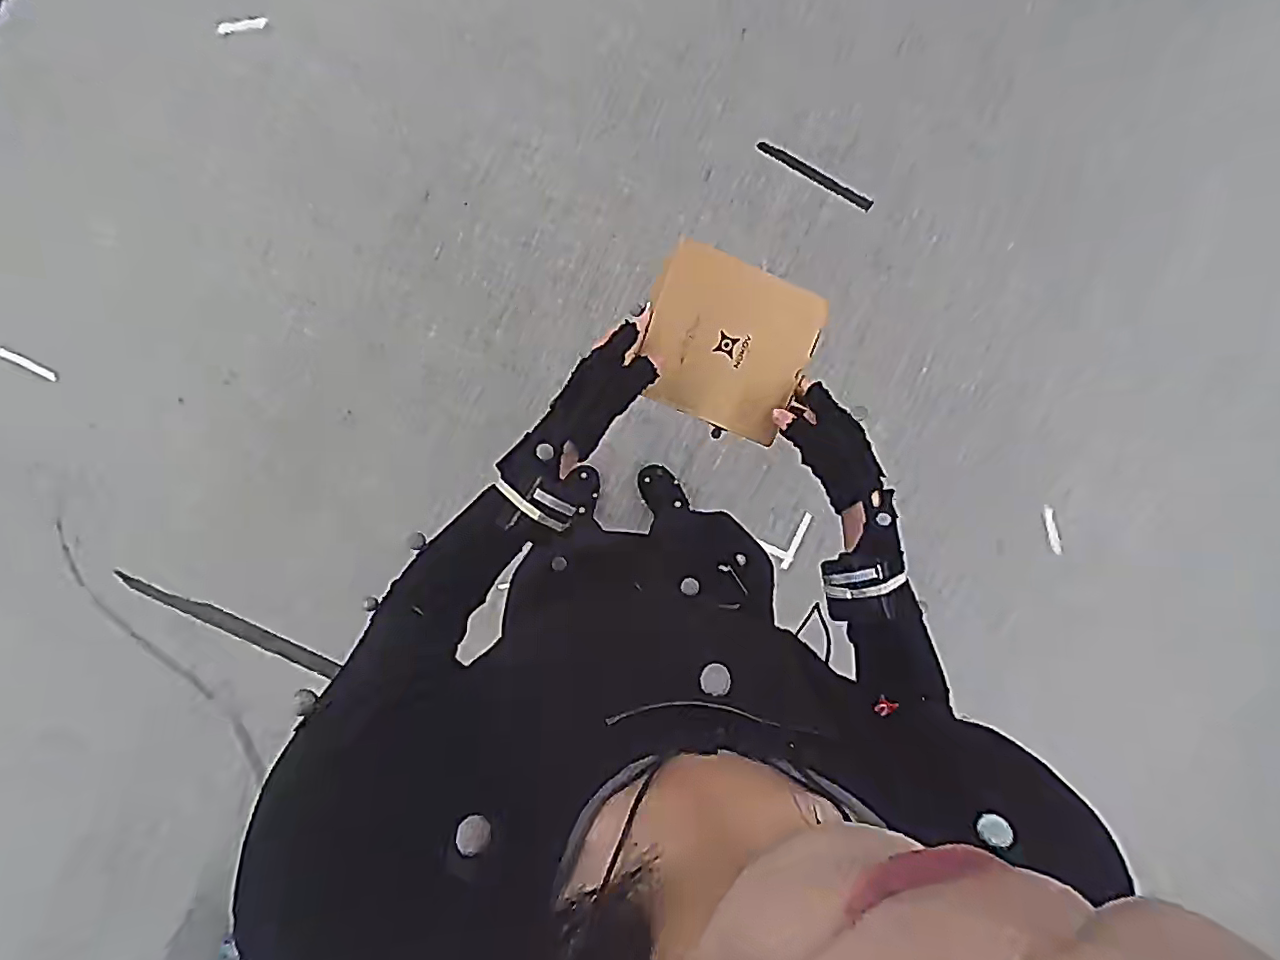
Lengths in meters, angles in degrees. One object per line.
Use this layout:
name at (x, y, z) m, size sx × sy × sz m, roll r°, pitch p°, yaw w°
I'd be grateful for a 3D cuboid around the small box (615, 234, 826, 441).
small box at (0.079, -0.159, 0.640) m, size 0.179 × 0.176 × 0.168 m, roll 19°, pitch 98°, yaw -9°
